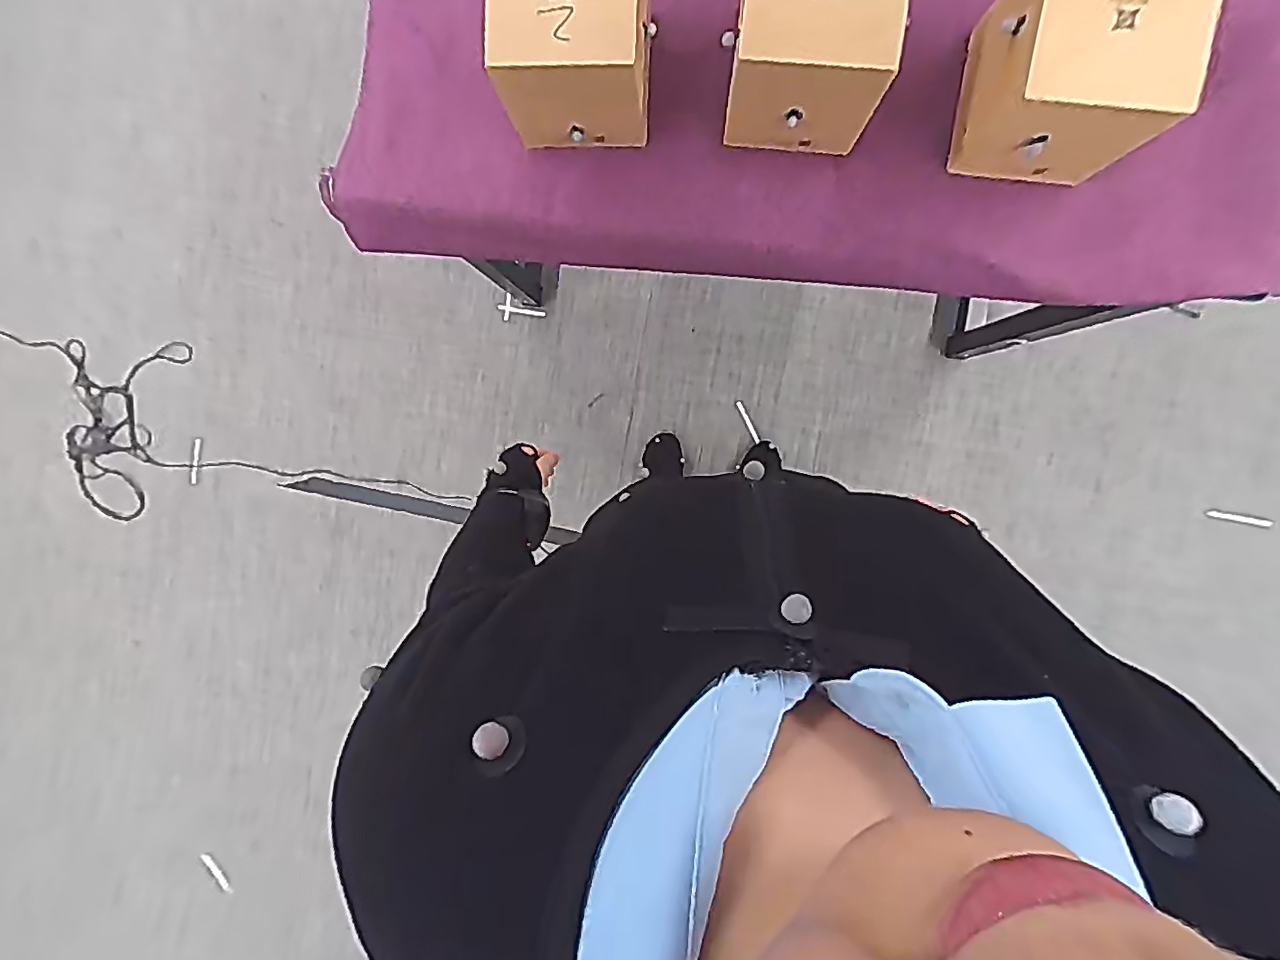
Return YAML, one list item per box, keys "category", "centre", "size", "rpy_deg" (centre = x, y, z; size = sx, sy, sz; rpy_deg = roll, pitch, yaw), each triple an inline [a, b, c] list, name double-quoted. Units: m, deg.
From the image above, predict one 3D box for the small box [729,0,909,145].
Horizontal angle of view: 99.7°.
- category: "small box"
  centre: [0.200, -0.522, 0.626]
  size: [0.168, 0.176, 0.179]
  rpy_deg: [7, 94, 3]

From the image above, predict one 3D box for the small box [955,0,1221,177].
- category: "small box"
  centre: [0.487, -0.471, 0.610]
  size: [0.168, 0.176, 0.179]
  rpy_deg: [8, 96, 4]
